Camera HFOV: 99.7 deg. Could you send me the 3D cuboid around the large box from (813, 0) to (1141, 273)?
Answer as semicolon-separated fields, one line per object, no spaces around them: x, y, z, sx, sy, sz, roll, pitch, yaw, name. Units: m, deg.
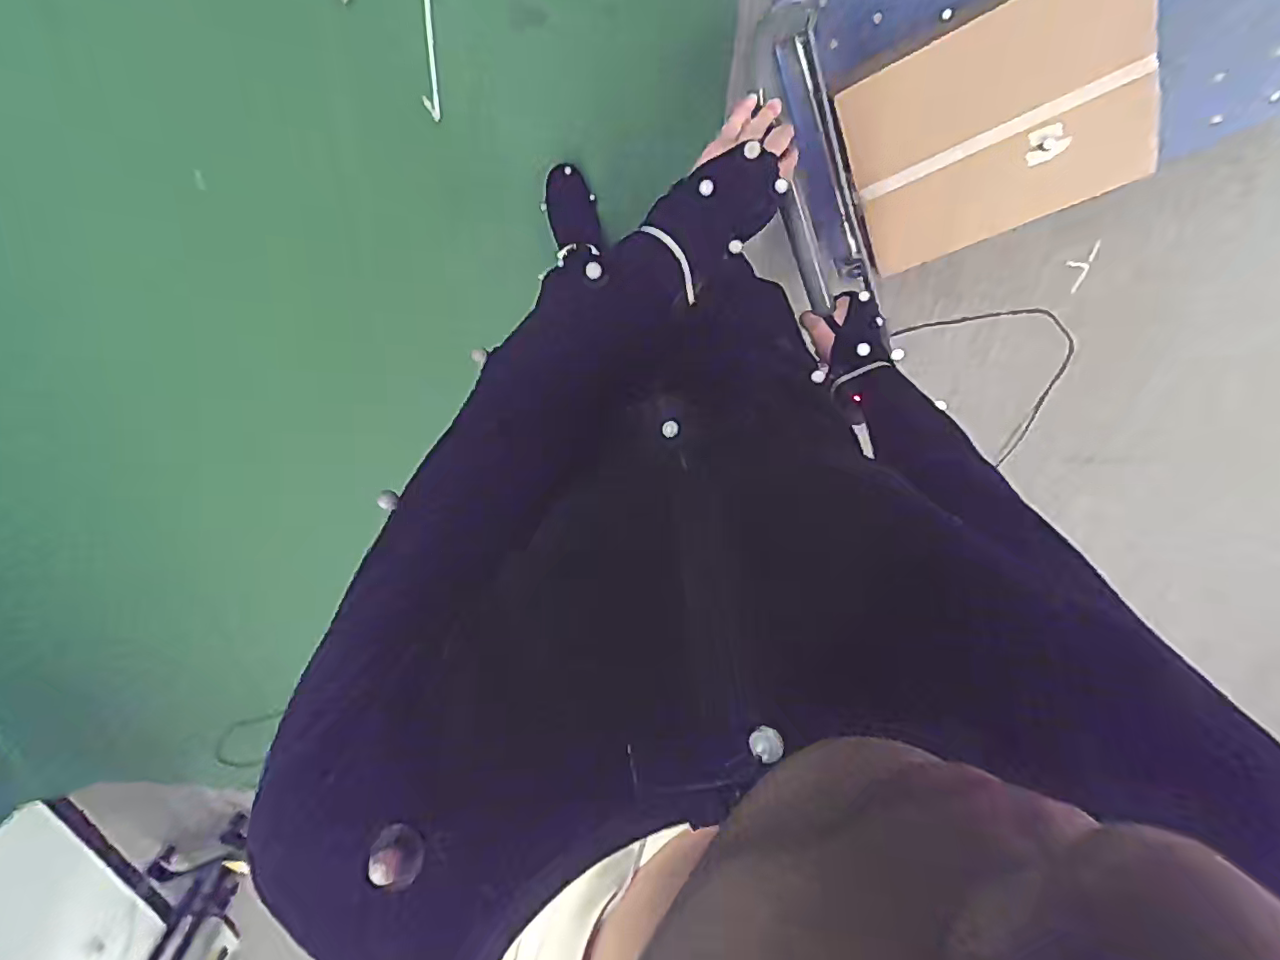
0.564;-0.636;0.966;0.408;0.320;0.320;-17;122;23;large box
